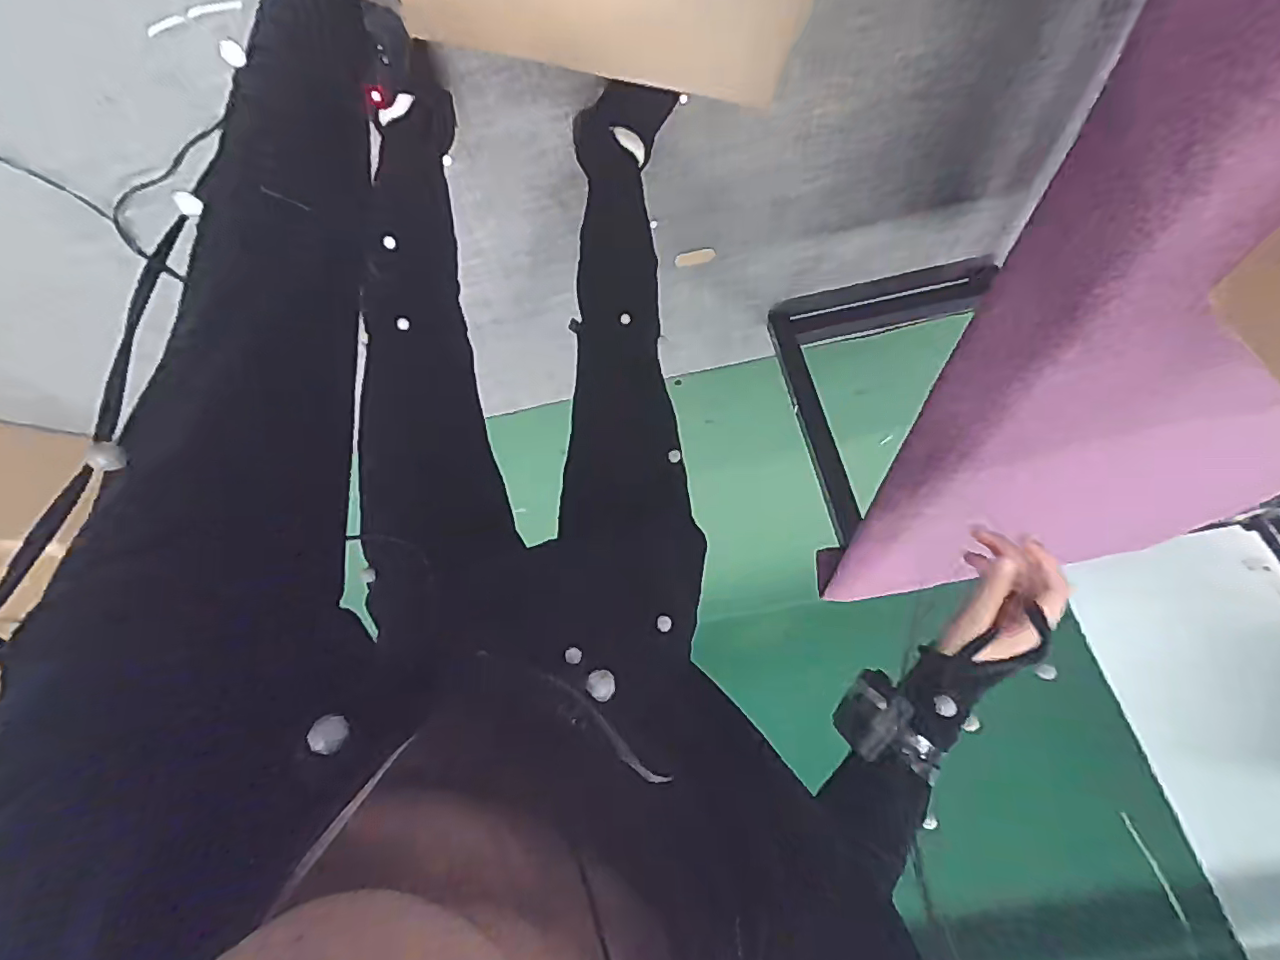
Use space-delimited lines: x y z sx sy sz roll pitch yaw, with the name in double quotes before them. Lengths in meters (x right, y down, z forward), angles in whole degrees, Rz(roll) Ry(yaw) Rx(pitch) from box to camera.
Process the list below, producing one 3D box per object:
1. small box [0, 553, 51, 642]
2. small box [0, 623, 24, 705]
"small box" -1.545 0.278 1.283 0.168 0.176 0.179 17 142 -42
"small box" -1.521 0.417 1.202 0.168 0.176 0.179 15 144 -40
